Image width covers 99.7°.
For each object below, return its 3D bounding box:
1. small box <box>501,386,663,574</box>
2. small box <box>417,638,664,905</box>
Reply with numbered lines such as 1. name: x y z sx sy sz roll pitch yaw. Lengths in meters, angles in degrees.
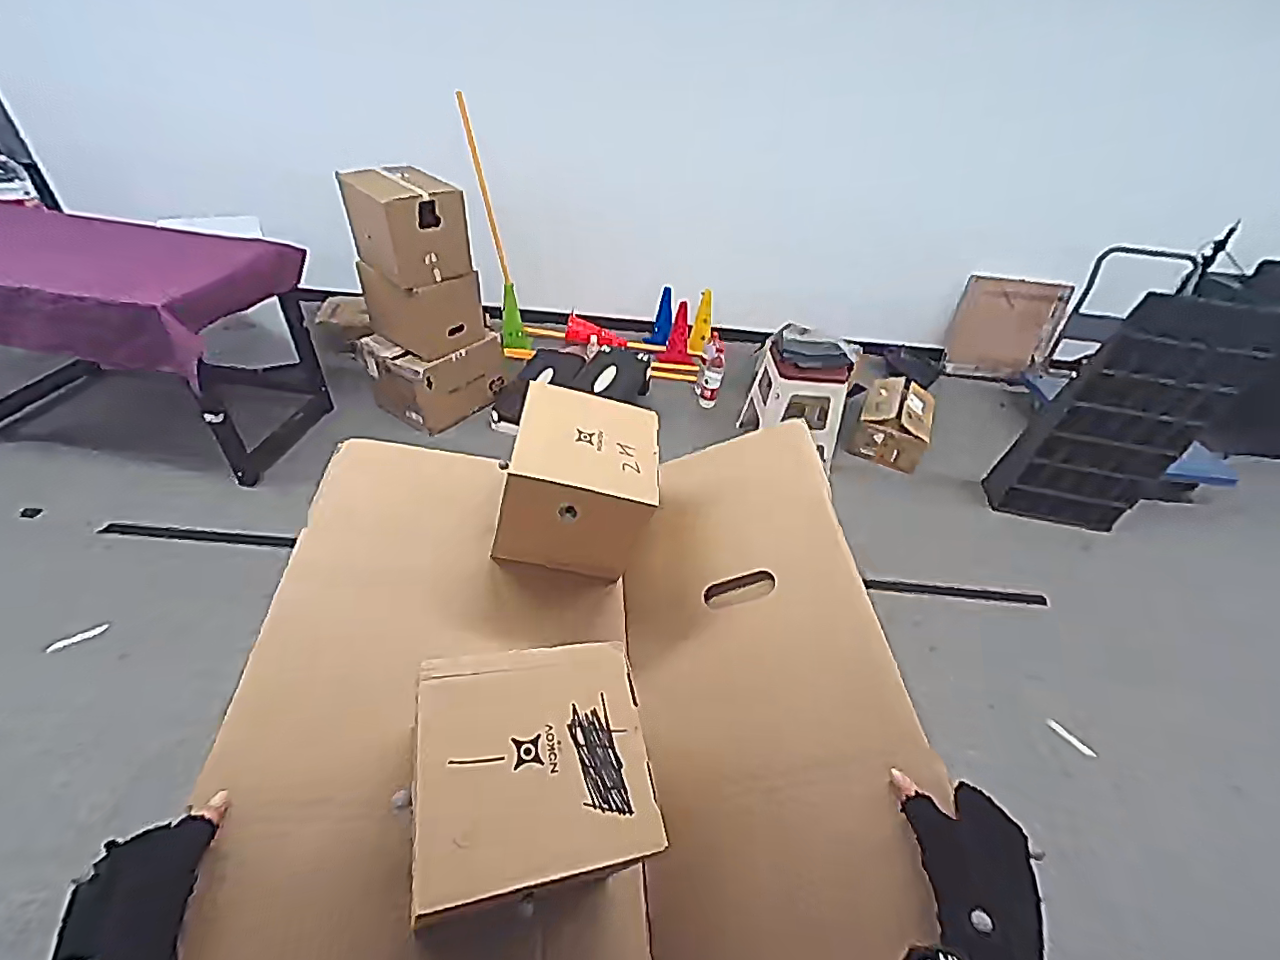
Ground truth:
1. small box: -0.079 0.006 0.728 0.179 0.176 0.168 15 46 -12
2. small box: -0.102 0.258 0.487 0.179 0.176 0.168 2 50 -22
